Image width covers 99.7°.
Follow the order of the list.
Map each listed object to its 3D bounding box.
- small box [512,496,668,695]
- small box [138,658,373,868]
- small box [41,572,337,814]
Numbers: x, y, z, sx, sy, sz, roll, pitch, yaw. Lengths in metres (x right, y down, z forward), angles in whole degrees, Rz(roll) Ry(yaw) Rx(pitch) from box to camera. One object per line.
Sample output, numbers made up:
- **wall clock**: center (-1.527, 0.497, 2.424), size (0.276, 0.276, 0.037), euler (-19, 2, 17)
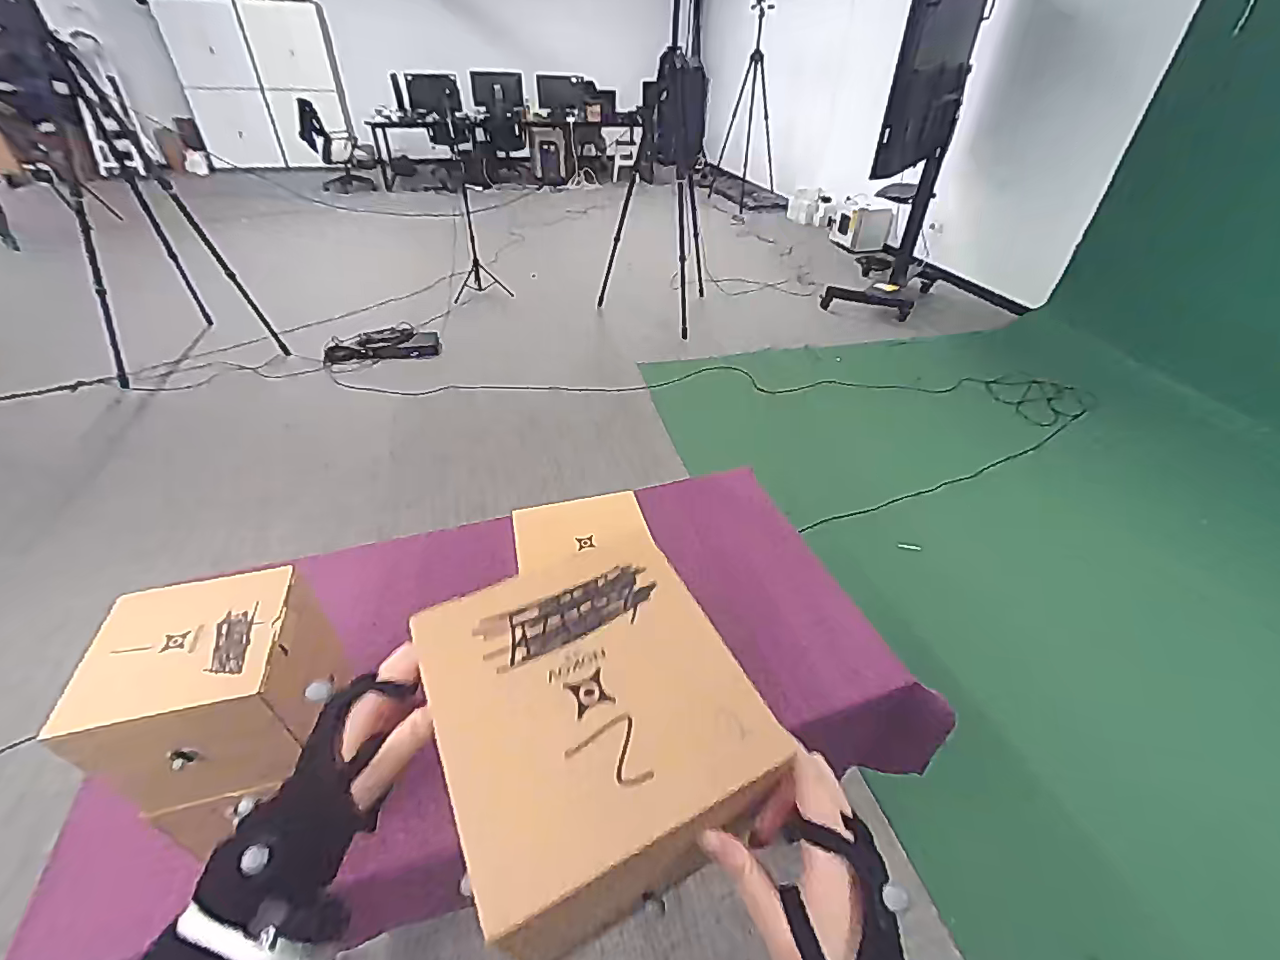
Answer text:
- **small box**: center (-0.071, 0.148, 0.712), size (0.168, 0.176, 0.179), euler (-10, 41, -13)
- **small box**: center (-0.466, 0.361, 0.693), size (0.179, 0.176, 0.168), euler (-8, 40, -13)
- **small box**: center (-0.458, 0.231, 0.594), size (0.179, 0.176, 0.168), euler (-10, 41, -13)
